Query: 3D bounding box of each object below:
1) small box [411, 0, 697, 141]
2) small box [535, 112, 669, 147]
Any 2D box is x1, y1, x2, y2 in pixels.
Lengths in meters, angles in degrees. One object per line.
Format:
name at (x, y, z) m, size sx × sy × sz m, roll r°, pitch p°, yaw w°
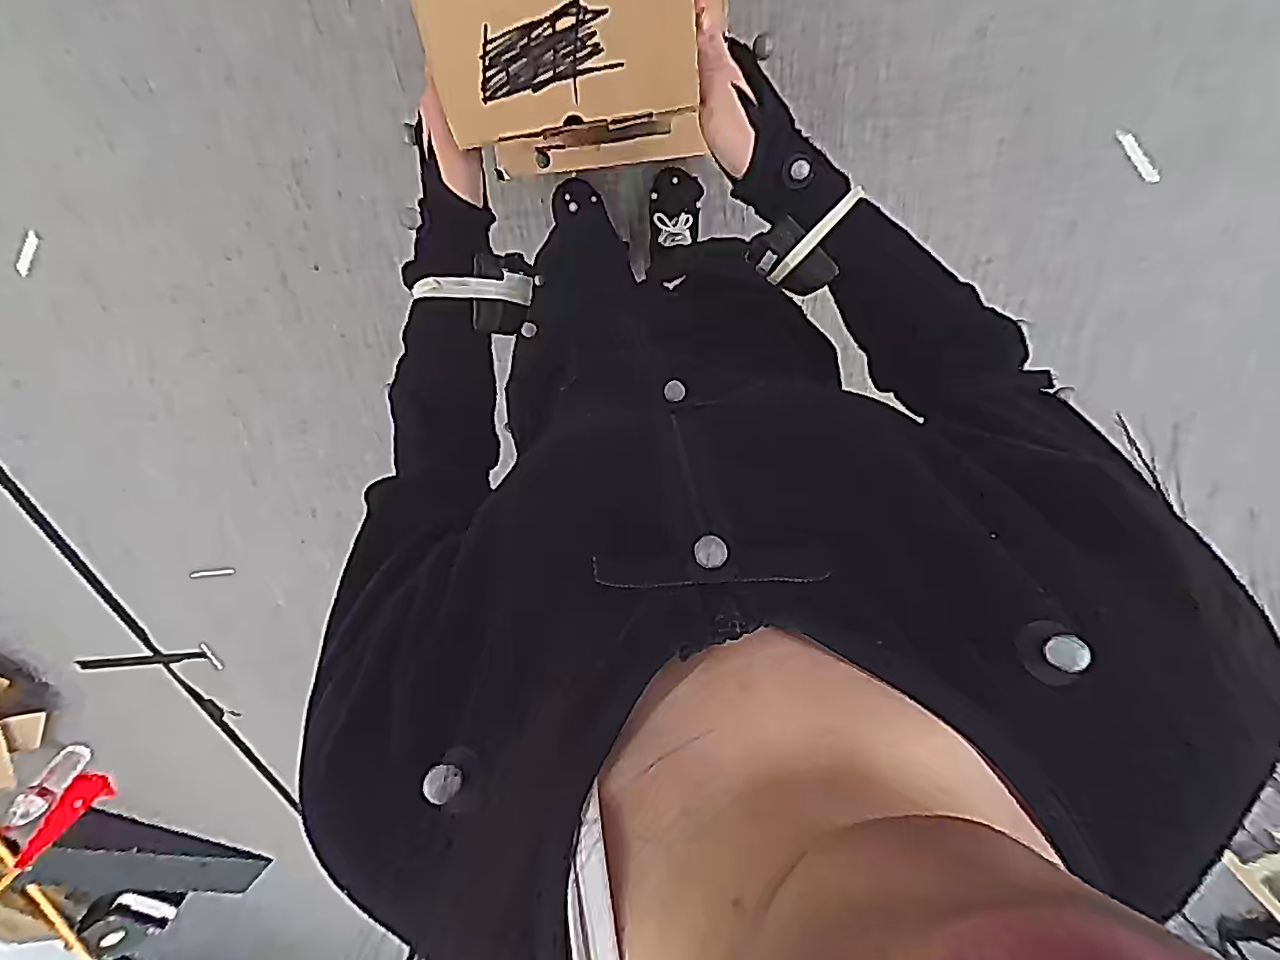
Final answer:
small box at (-0.049, -0.346, 0.355) m, size 0.168 × 0.176 × 0.179 m, roll -4°, pitch 128°, yaw 7°
small box at (-0.056, -0.531, 0.680) m, size 0.168 × 0.176 × 0.179 m, roll -6°, pitch 124°, yaw 4°
